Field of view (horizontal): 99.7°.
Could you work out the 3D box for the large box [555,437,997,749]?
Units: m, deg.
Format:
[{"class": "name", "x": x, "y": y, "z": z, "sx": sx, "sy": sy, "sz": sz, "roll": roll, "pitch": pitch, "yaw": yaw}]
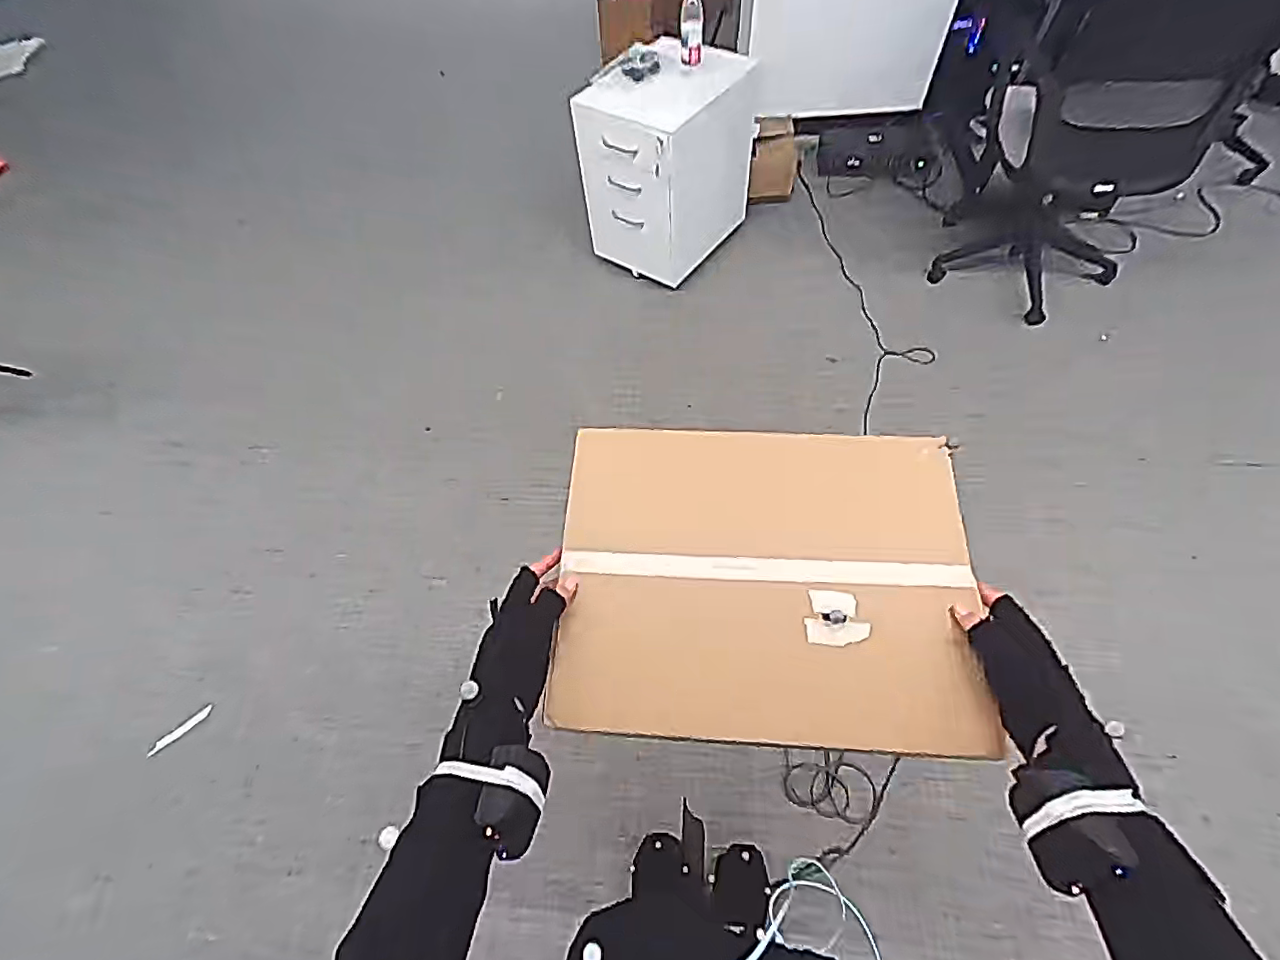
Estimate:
[{"class": "large box", "x": 0.131, "y": 0.156, "z": 0.682, "sx": 0.408, "sy": 0.320, "sz": 0.320, "roll": 2, "pitch": 66, "yaw": 4}]
